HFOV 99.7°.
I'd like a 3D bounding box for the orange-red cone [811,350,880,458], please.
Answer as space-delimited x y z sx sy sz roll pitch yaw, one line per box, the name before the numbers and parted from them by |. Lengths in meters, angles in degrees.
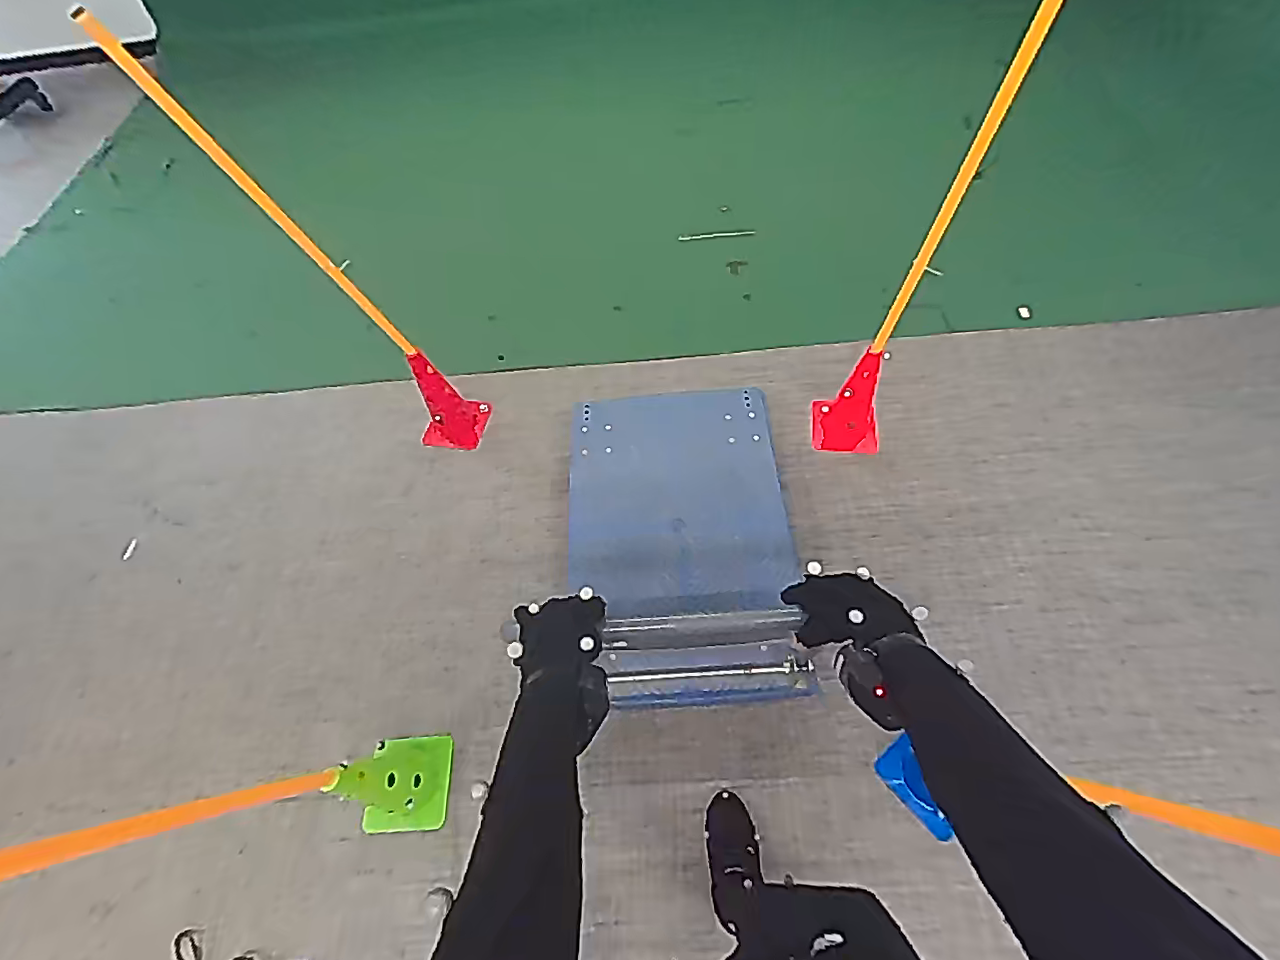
orange-red cone | 0.638 -0.244 1.588 0.198 0.360 0.199 5 61 9
